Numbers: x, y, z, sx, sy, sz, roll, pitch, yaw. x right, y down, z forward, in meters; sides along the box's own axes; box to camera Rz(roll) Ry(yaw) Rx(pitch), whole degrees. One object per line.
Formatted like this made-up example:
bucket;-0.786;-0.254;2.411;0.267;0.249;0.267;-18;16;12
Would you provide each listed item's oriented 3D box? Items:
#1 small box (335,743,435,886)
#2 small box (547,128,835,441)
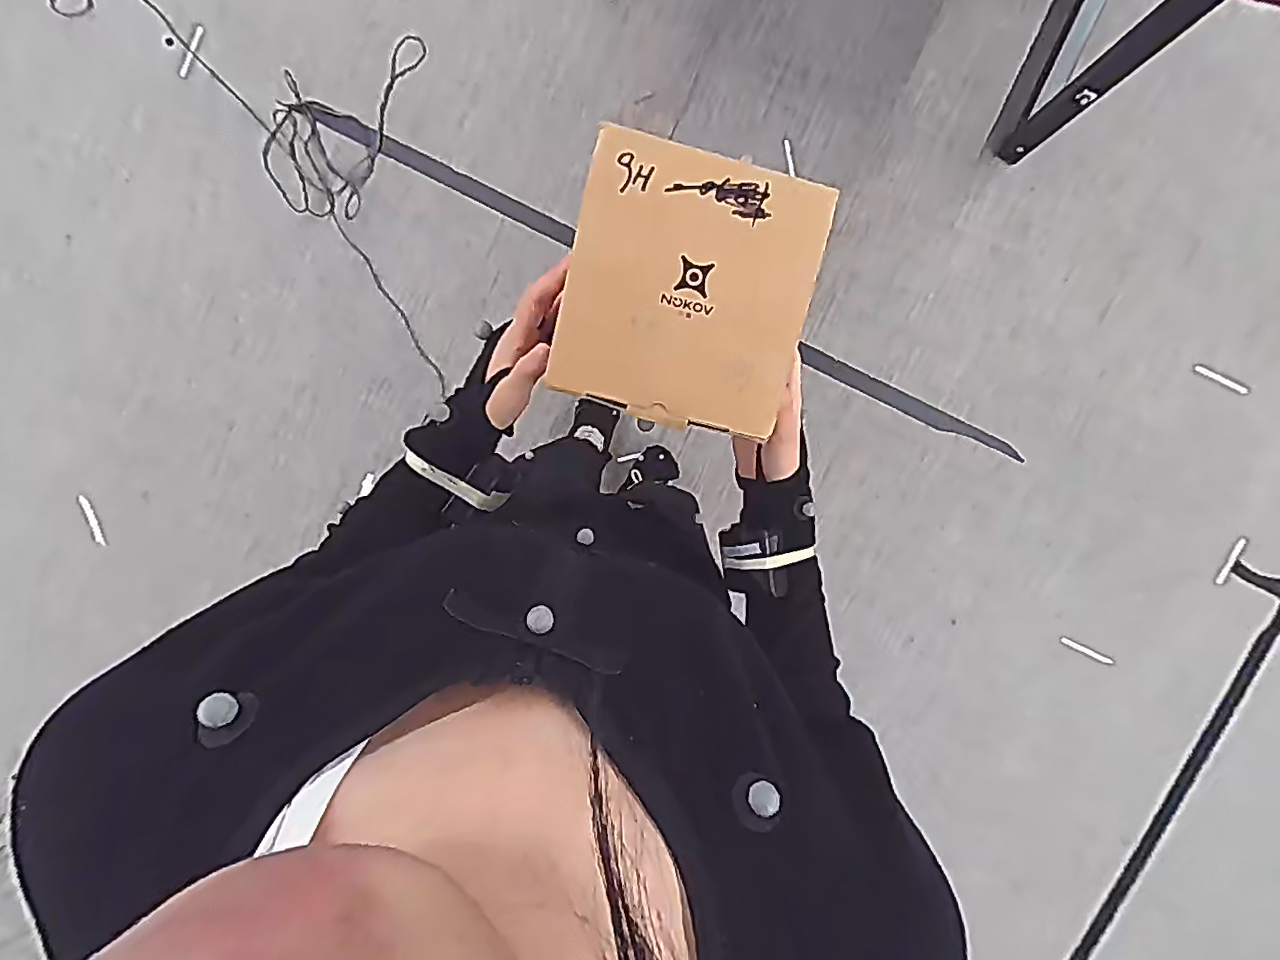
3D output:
small box;-0.578;0.725;1.189;0.168;0.176;0.179;23;94;-1
small box;0.031;-0.143;0.451;0.168;0.176;0.179;14;98;-5
